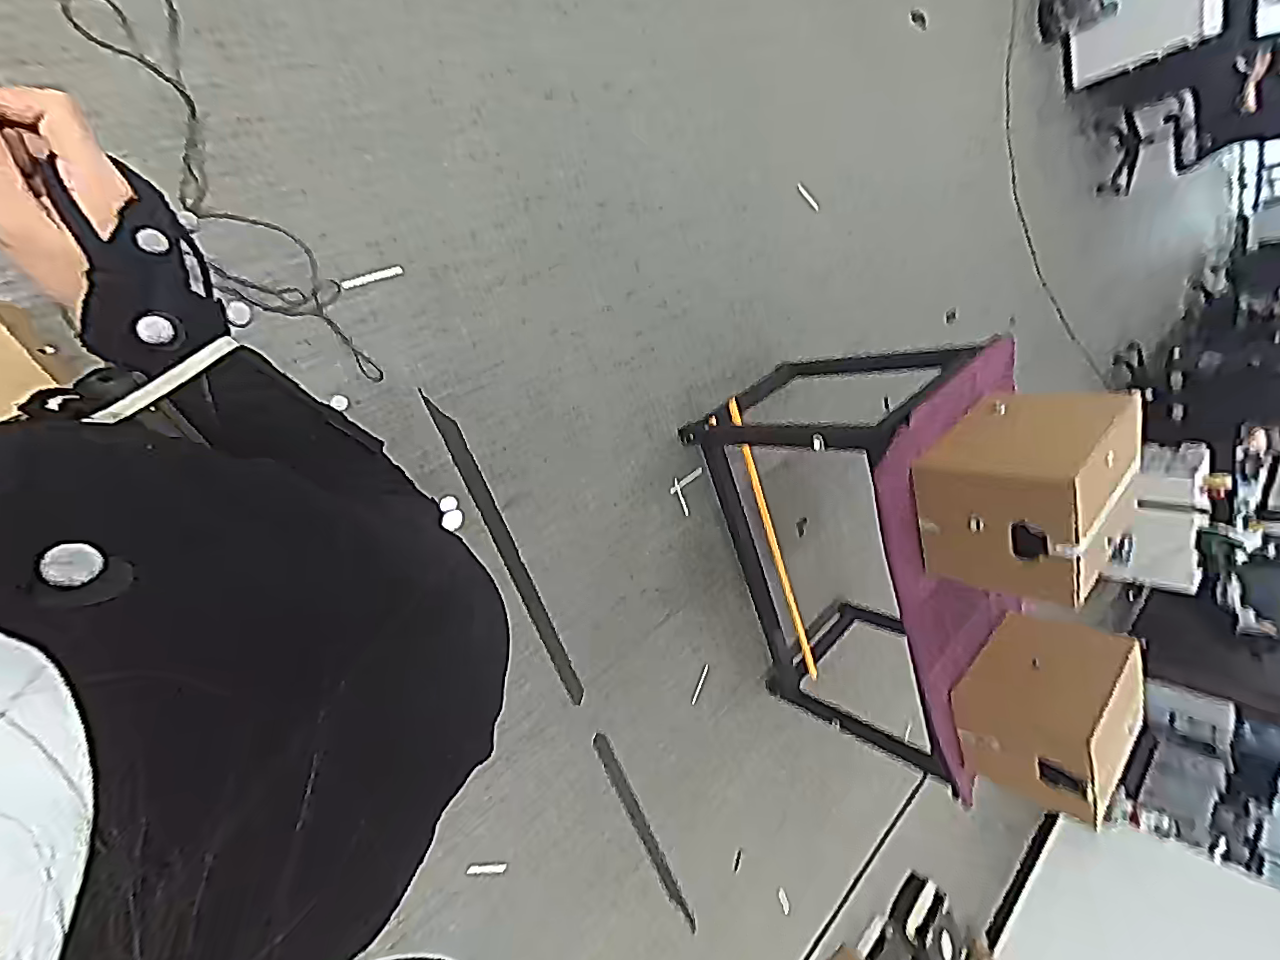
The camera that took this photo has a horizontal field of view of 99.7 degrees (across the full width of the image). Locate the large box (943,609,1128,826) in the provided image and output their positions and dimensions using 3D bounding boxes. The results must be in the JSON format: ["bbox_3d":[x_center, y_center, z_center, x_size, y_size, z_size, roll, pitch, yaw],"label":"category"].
[{"bbox_3d":[1.113,0.634,1.520,0.408,0.320,0.320,-34,115,-30],"label":"large box"}]

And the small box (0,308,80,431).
[{"bbox_3d":[-1.041,-0.169,0.835,0.168,0.176,0.179,-37,116,-26],"label":"small box"}]
